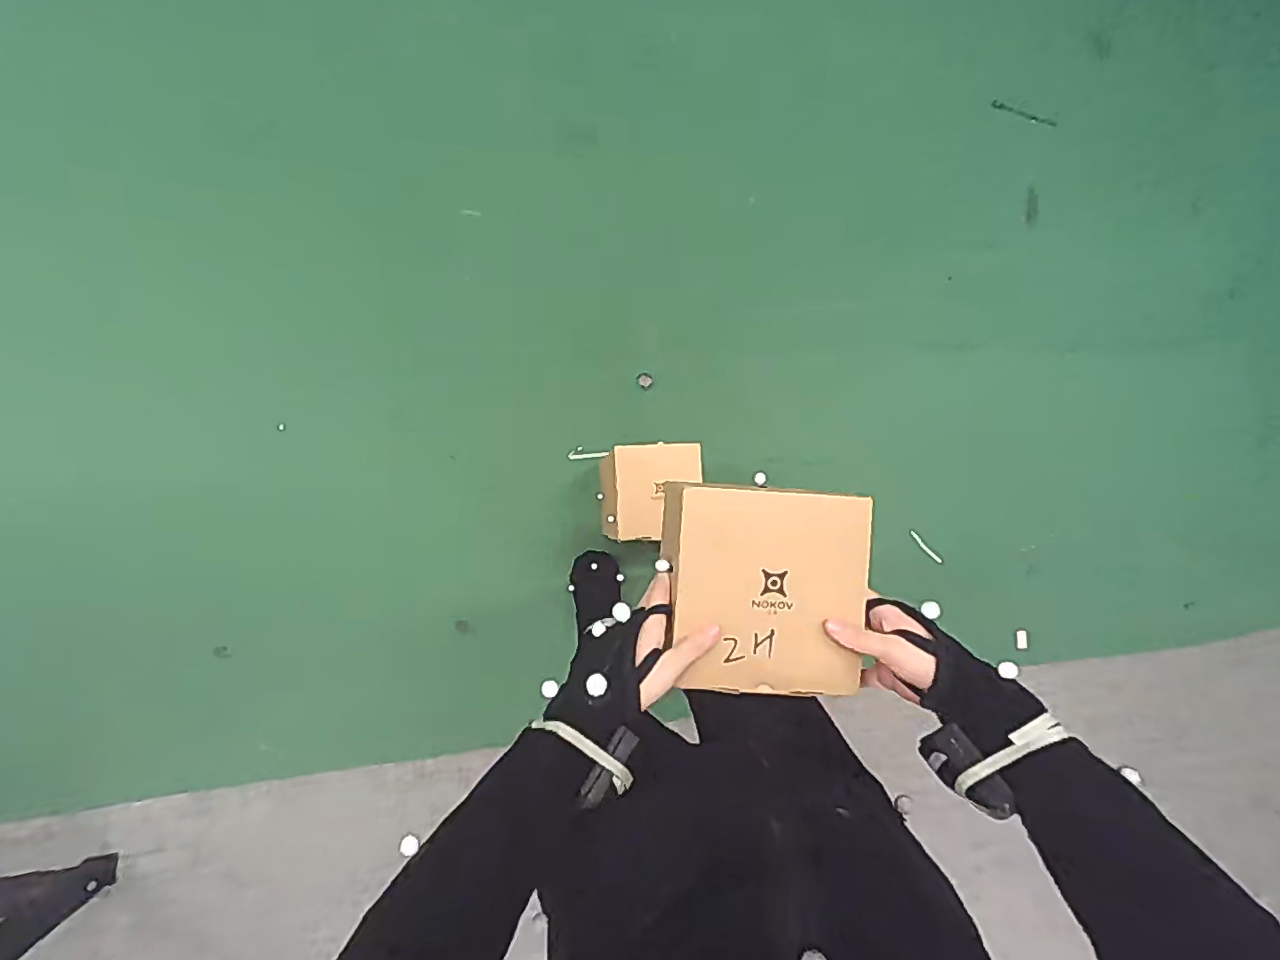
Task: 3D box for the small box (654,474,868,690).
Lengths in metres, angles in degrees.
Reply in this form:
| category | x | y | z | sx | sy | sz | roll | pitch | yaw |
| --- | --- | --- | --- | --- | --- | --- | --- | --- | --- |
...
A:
| category | x | y | z | sx | sy | sz | roll | pitch | yaw |
| --- | --- | --- | --- | --- | --- | --- | --- | --- | --- |
| small box | 0.105 | 0.087 | 0.542 | 0.168 | 0.176 | 0.179 | 4 | 93 | -2 |

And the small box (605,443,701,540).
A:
| category | x | y | z | sx | sy | sz | roll | pitch | yaw |
| --- | --- | --- | --- | --- | --- | --- | --- | --- | --- |
| small box | 0.022 | 0.027 | 1.075 | 0.168 | 0.176 | 0.179 | -3 | 86 | -10 |
